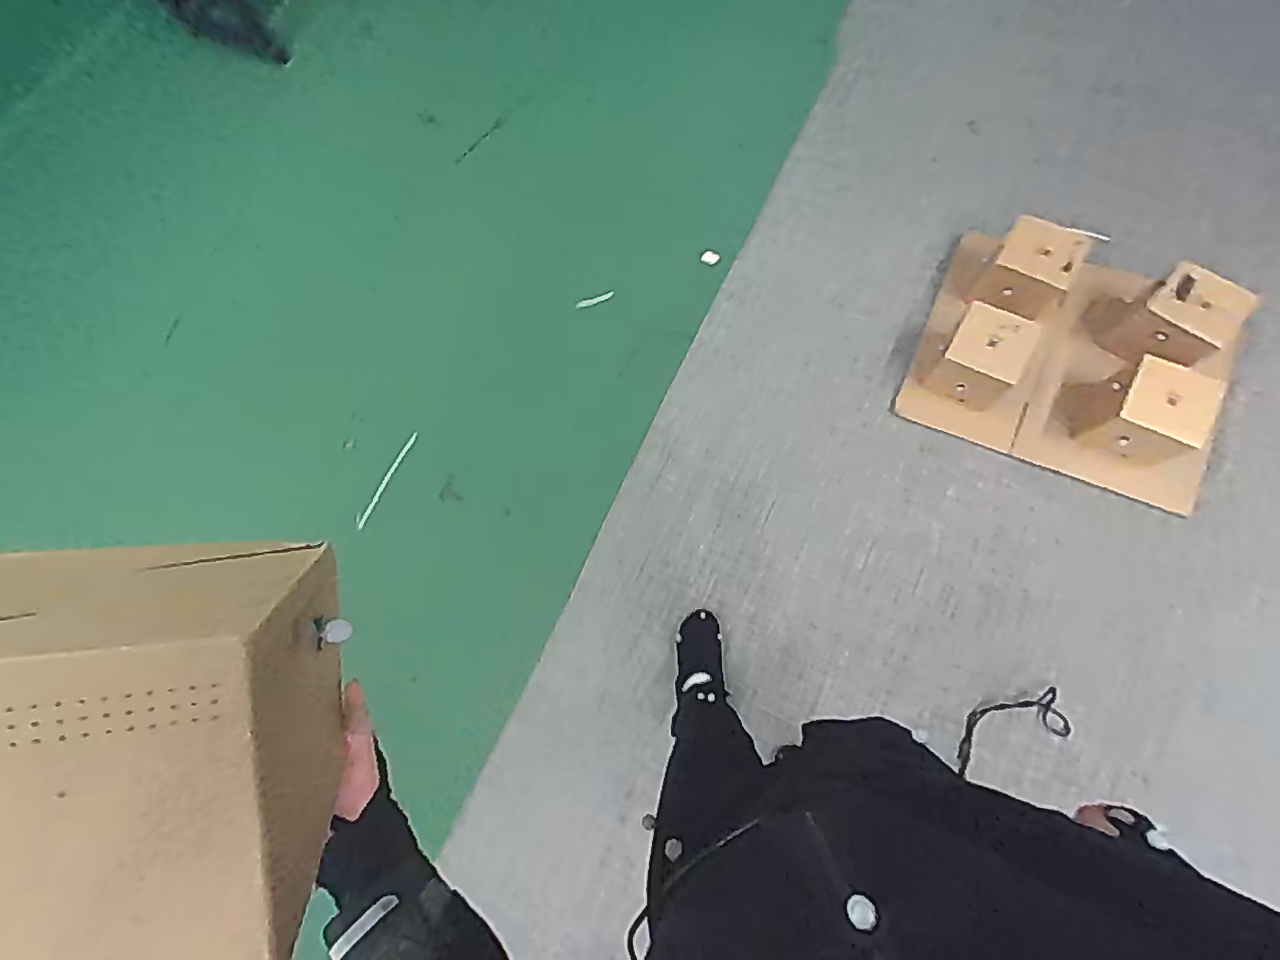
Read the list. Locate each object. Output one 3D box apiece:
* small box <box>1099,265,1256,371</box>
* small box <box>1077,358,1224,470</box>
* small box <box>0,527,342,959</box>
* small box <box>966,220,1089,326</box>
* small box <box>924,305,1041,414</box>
[{"bbox_3d":[1.279,-0.371,1.304,0.179,0.176,0.168,40,83,15],"label":"small box"},{"bbox_3d":[1.168,-0.145,1.255,0.168,0.176,0.179,27,78,14],"label":"small box"},{"bbox_3d":[-0.251,0.119,0.258,0.179,0.168,0.176,0,97,-21],"label":"small box"},{"bbox_3d":[0.986,-0.523,1.395,0.179,0.176,0.168,30,80,15],"label":"small box"},{"bbox_3d":[0.840,-0.292,1.346,0.168,0.176,0.179,28,79,14],"label":"small box"}]
